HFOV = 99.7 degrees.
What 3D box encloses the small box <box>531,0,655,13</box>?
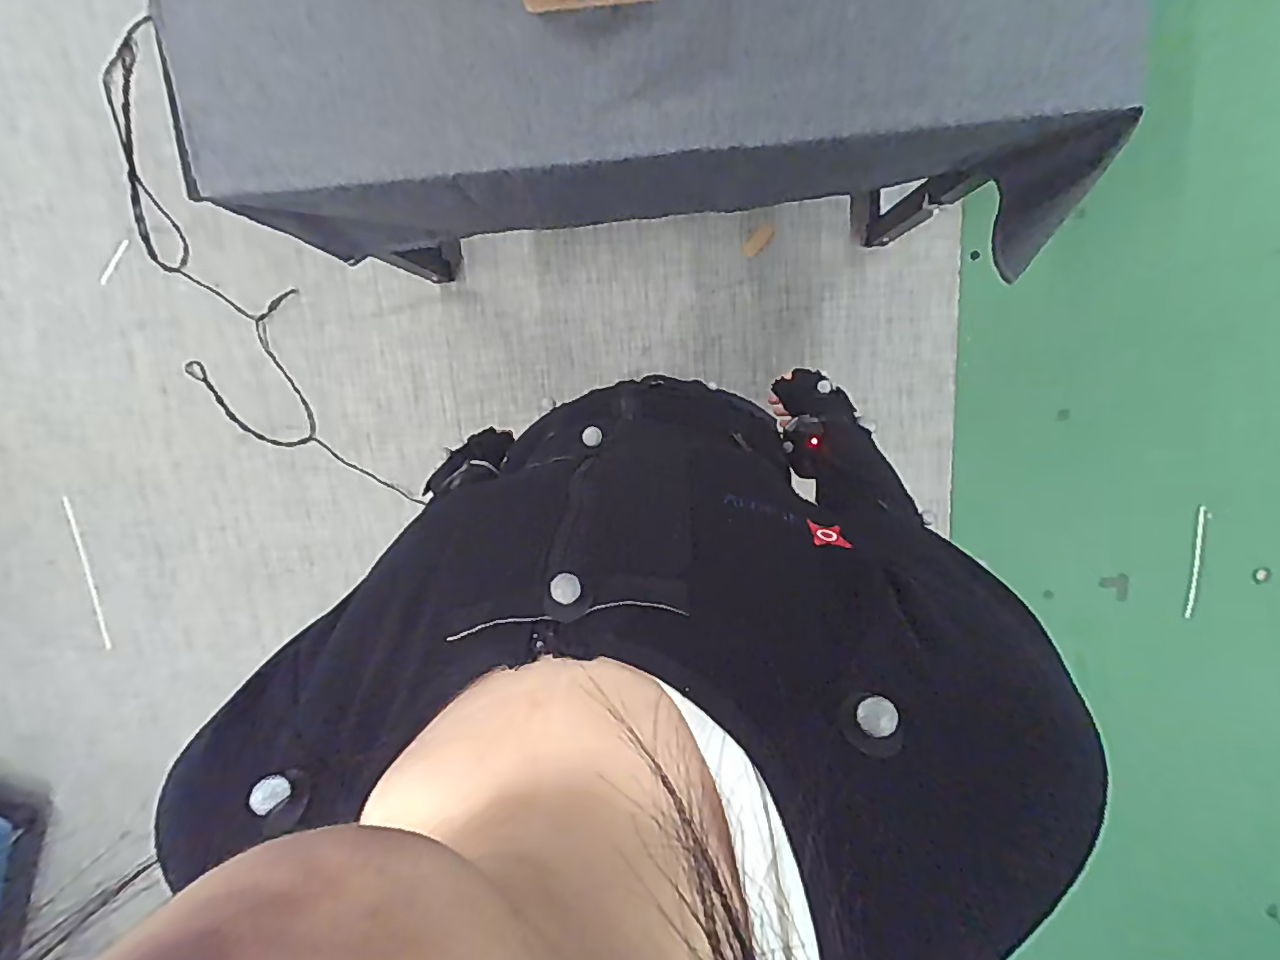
[{"bbox_3d":[-0.062,-0.642,0.561,0.168,0.176,0.179,-3,100,3],"label":"small box"}]
